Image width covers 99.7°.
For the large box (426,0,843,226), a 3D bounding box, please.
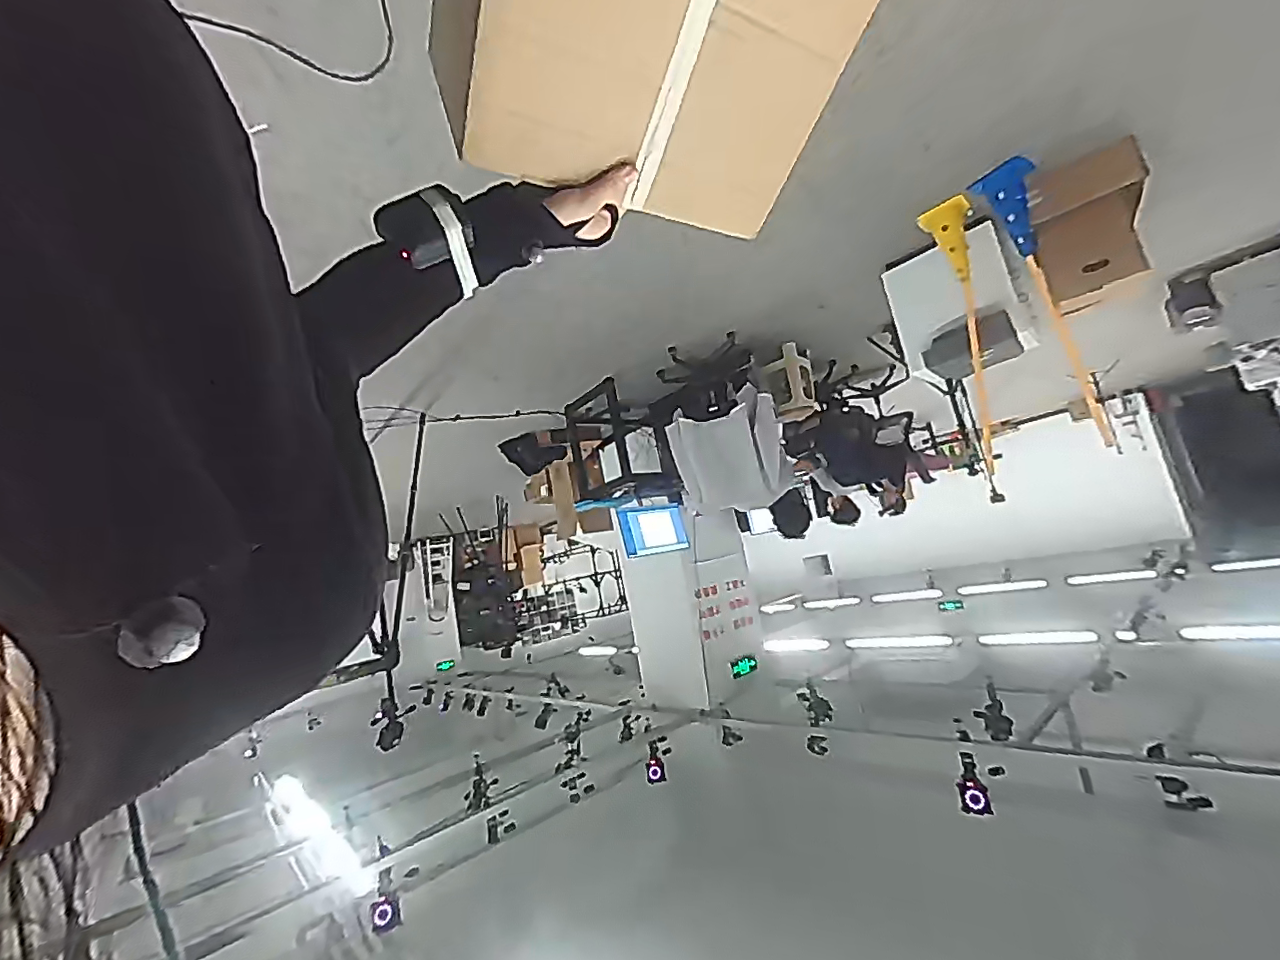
[{"bbox_3d":[-0.008,-0.518,0.481,0.320,0.320,0.408,-1,139,-28],"label":"large box"}]
